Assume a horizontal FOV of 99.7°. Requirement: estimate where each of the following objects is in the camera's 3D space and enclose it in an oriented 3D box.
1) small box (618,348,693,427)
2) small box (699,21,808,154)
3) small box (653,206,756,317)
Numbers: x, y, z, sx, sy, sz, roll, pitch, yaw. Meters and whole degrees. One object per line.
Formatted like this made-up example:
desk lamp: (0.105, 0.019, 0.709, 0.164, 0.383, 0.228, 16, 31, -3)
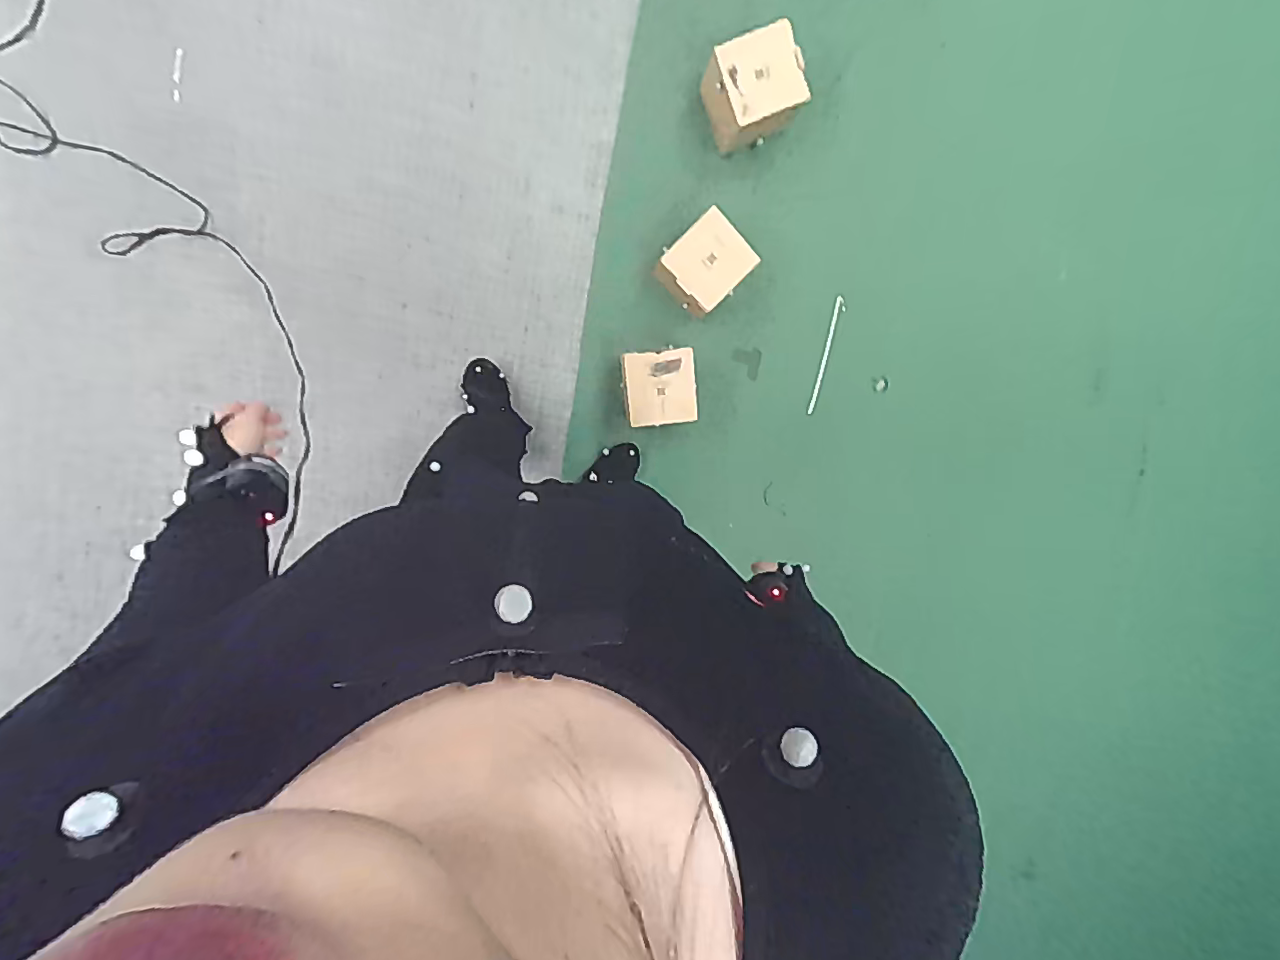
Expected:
small box: (0.035, -0.233, 1.359, 0.168, 0.176, 0.179, -6, 103, -4)
small box: (0.255, -0.892, 1.247, 0.179, 0.176, 0.168, -22, 102, -1)
small box: (0.146, -0.517, 1.312, 0.179, 0.176, 0.168, -45, 102, 4)
